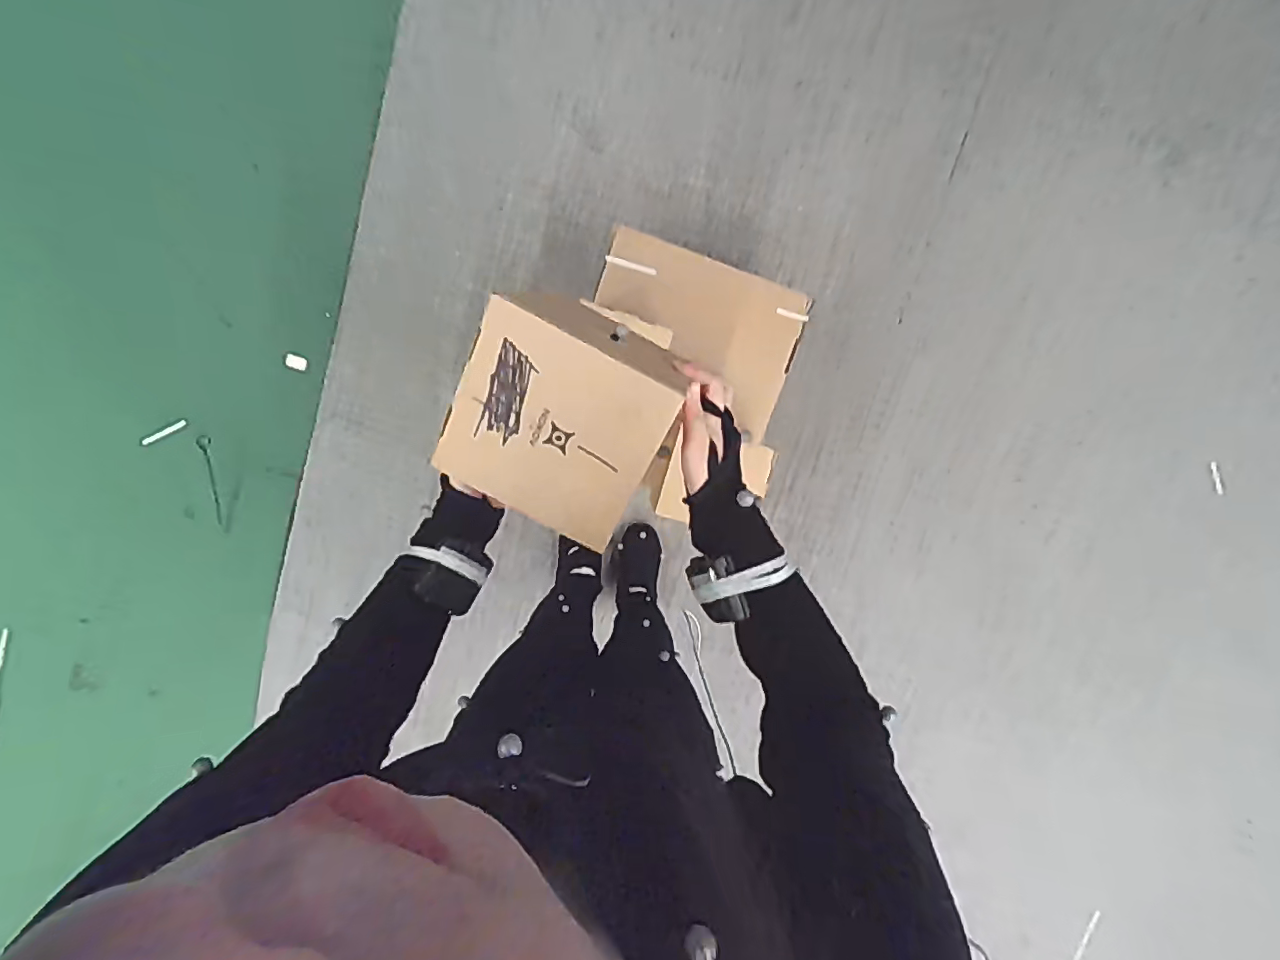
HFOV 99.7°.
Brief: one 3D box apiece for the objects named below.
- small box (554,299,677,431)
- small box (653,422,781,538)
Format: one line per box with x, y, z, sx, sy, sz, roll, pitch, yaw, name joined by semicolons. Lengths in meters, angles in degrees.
-0.045;-0.197;0.968;0.168;0.176;0.179;18;95;-4;small box
0.133;-0.010;0.999;0.179;0.176;0.168;16;96;-4;small box
